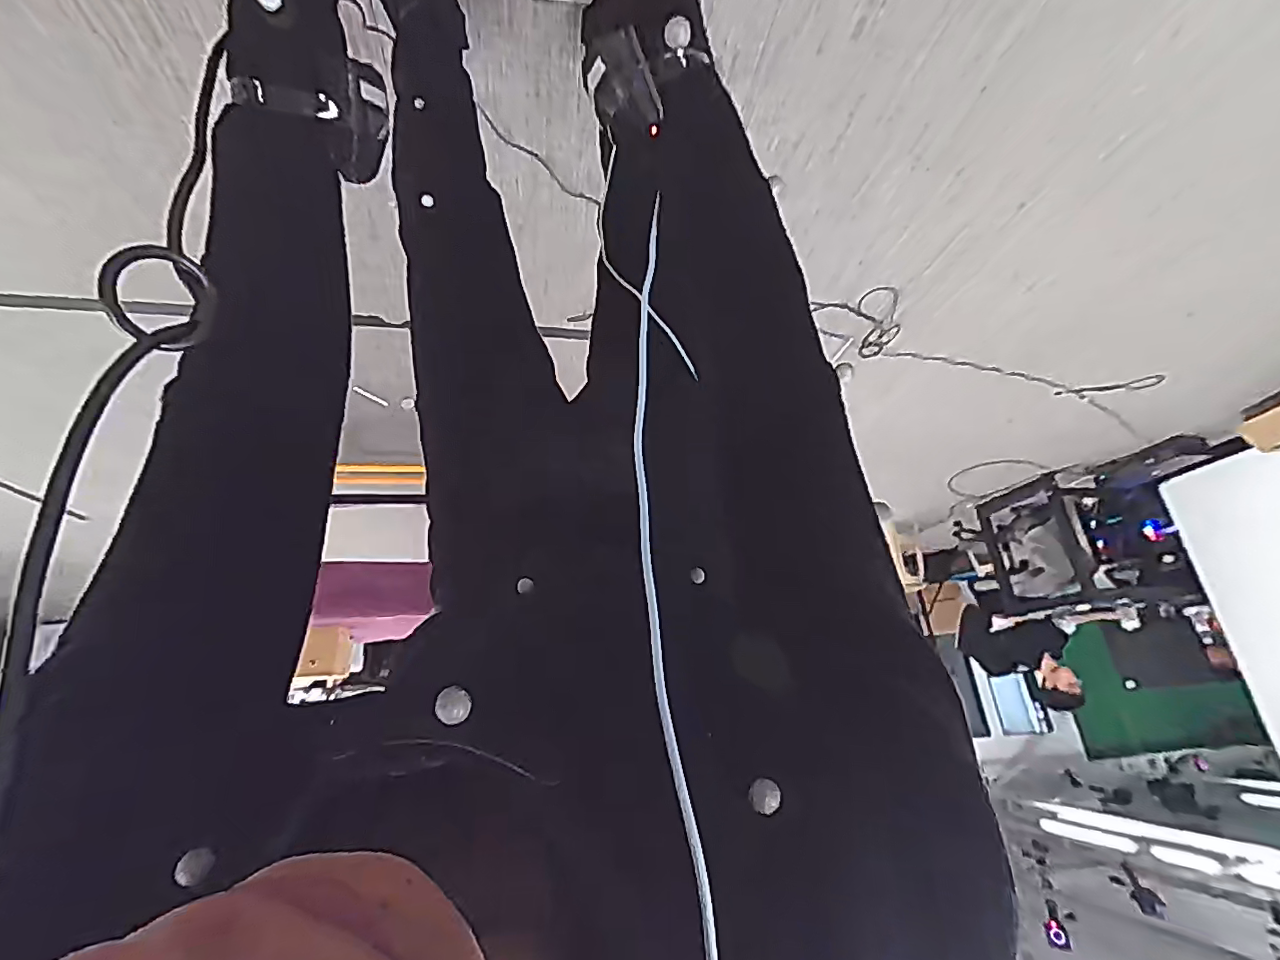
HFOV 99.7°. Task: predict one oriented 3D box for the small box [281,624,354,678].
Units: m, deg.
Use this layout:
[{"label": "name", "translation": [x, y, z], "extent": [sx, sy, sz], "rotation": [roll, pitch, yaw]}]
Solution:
[{"label": "small box", "translation": [-1.136, 0.609, 1.921], "extent": [0.179, 0.176, 0.168], "rotation": [0, 158, -10]}]
